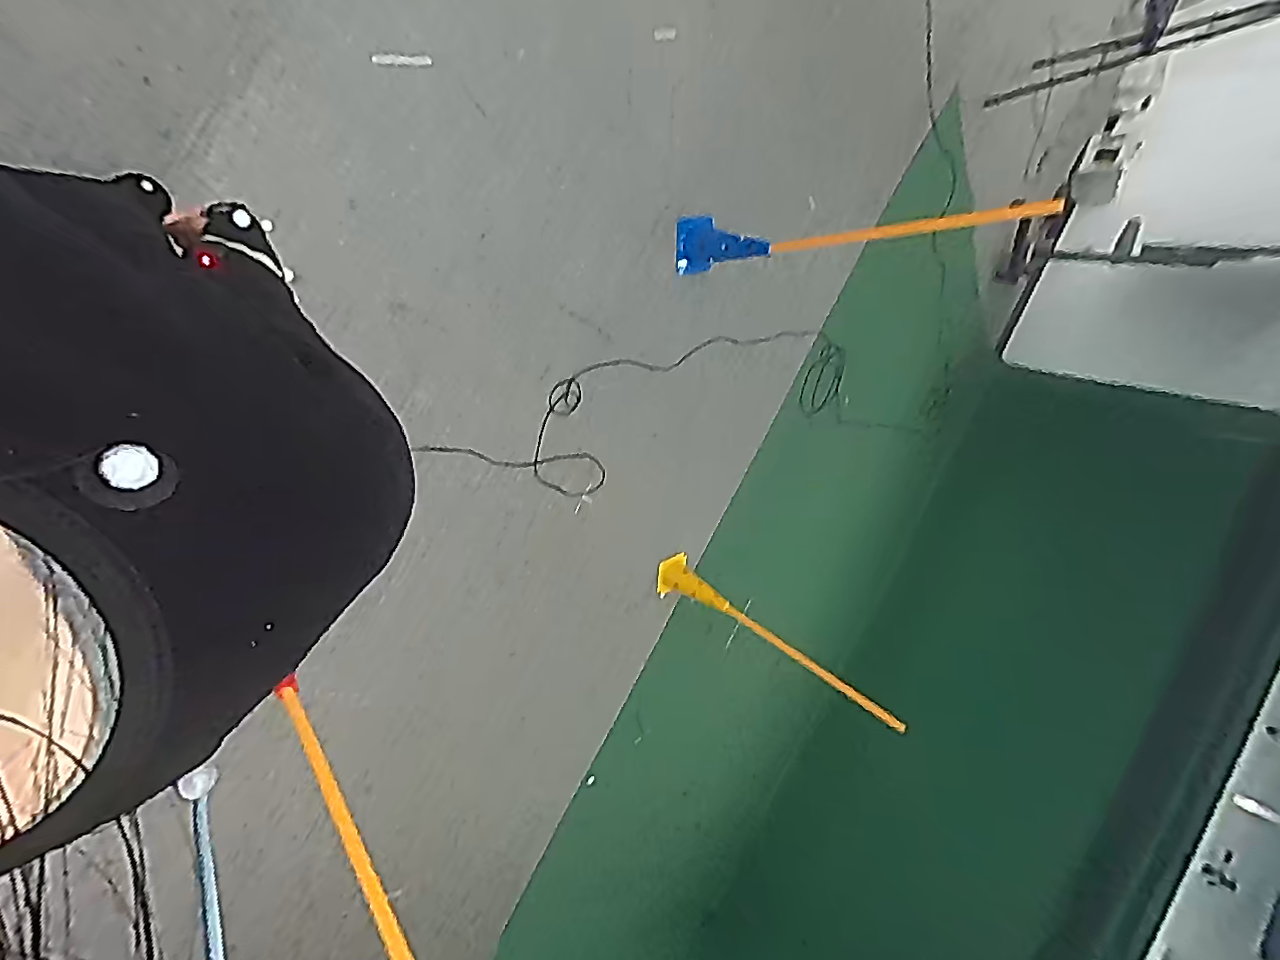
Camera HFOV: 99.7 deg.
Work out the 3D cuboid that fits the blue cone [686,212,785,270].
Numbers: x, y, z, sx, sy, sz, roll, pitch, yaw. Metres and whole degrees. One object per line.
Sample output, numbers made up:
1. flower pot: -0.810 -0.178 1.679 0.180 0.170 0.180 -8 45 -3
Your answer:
1. blue cone: 0.351 -0.857 1.951 0.192 0.380 0.193 -26 125 -34
